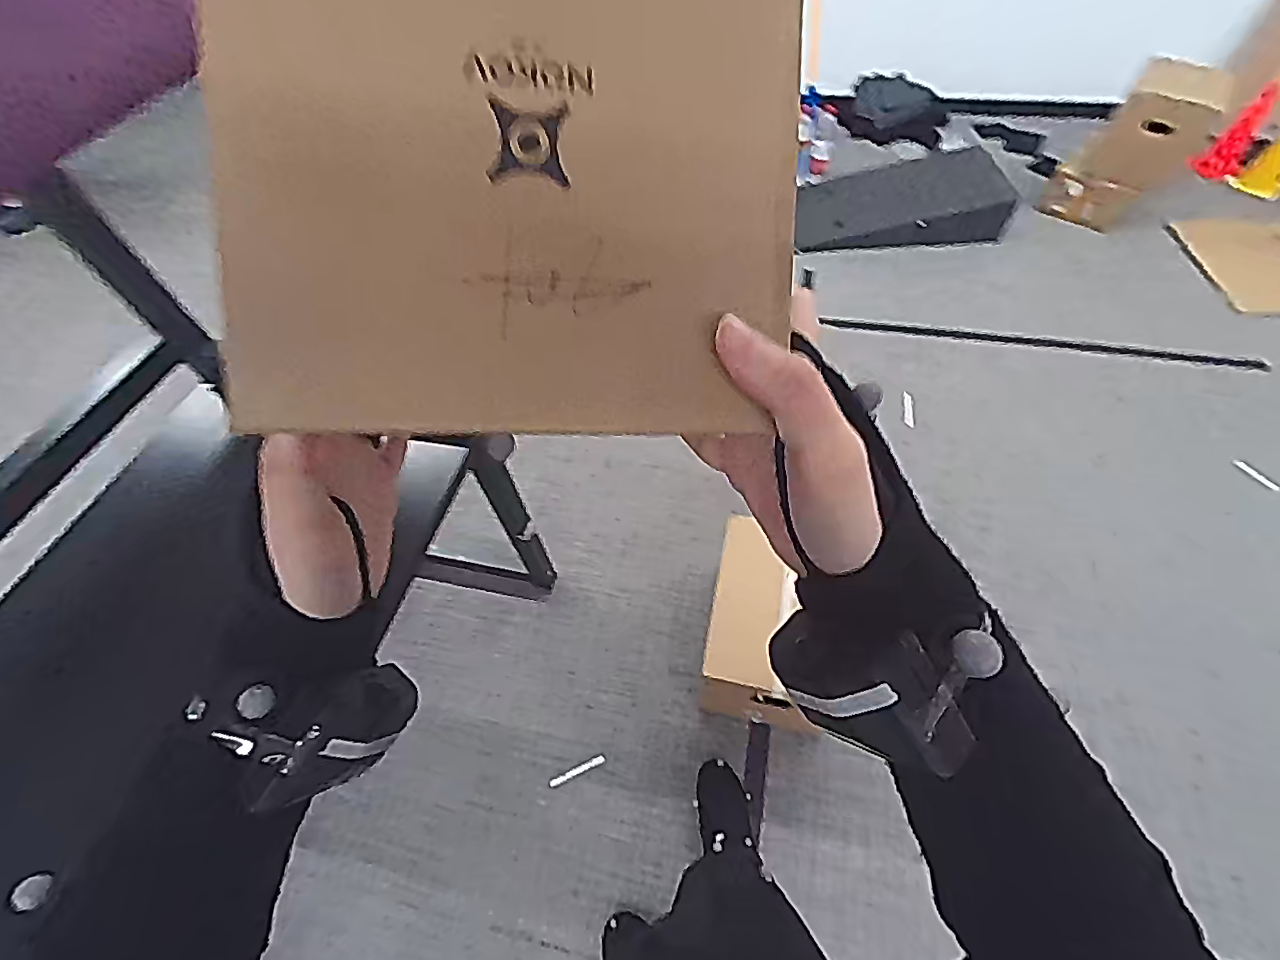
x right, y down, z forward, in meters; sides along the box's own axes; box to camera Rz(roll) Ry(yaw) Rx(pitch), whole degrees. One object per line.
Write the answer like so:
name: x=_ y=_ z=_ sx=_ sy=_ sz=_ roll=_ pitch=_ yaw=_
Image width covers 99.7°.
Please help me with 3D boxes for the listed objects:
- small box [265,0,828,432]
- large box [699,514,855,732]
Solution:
small box: x=-0.036 y=-0.112 z=0.242 sx=0.168 sy=0.176 sz=0.179 roll=1 pitch=95 yaw=-9
large box: x=0.326 y=0.350 z=1.322 sx=0.320 sy=0.320 sz=0.408 roll=10 pitch=56 yaw=9
